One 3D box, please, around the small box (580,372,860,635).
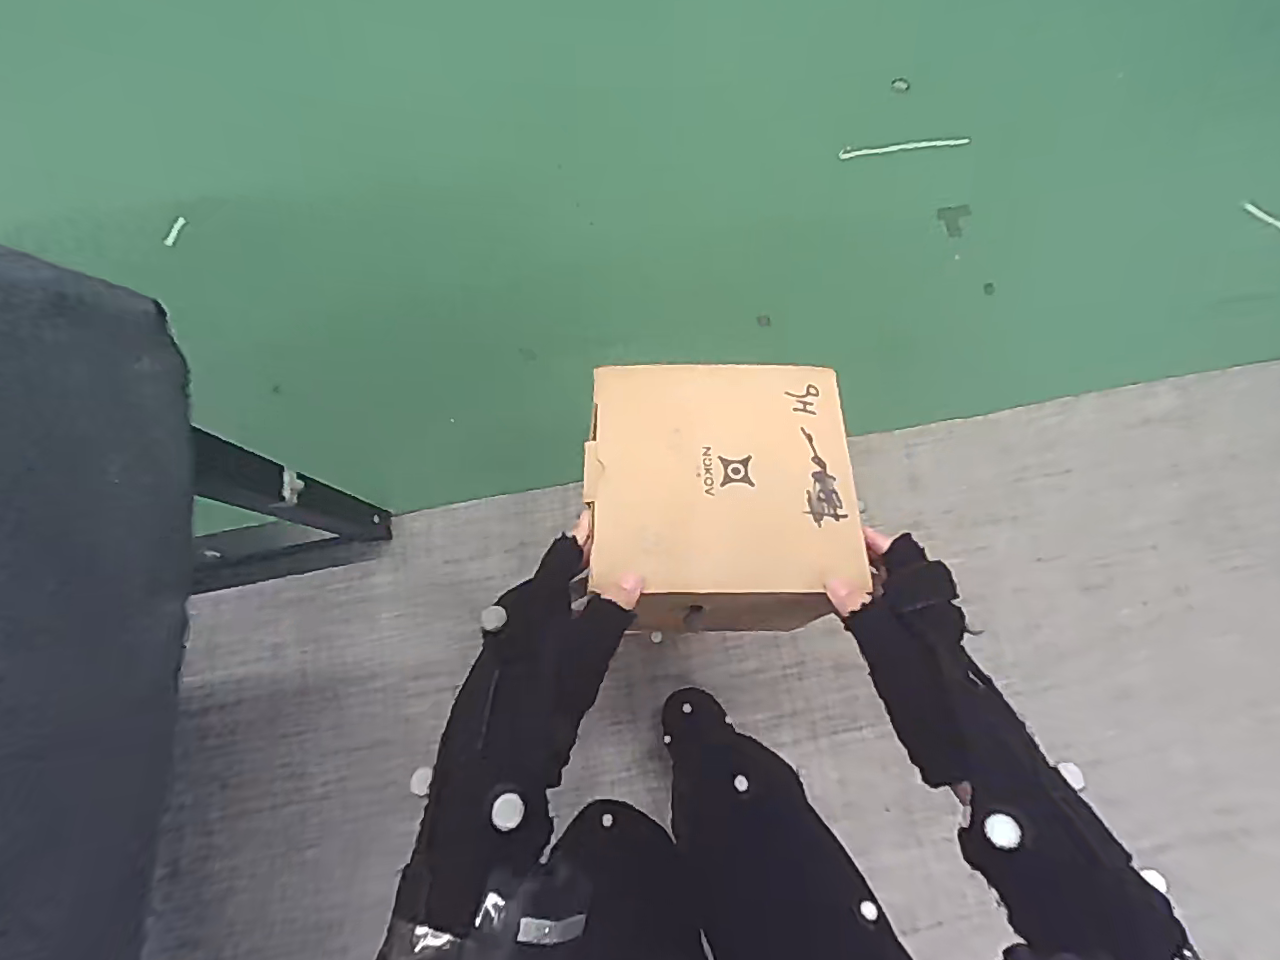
[{"bbox_3d":[0.050,0.030,0.438,0.179,0.176,0.168,1,66,-1],"label":"small box"}]
